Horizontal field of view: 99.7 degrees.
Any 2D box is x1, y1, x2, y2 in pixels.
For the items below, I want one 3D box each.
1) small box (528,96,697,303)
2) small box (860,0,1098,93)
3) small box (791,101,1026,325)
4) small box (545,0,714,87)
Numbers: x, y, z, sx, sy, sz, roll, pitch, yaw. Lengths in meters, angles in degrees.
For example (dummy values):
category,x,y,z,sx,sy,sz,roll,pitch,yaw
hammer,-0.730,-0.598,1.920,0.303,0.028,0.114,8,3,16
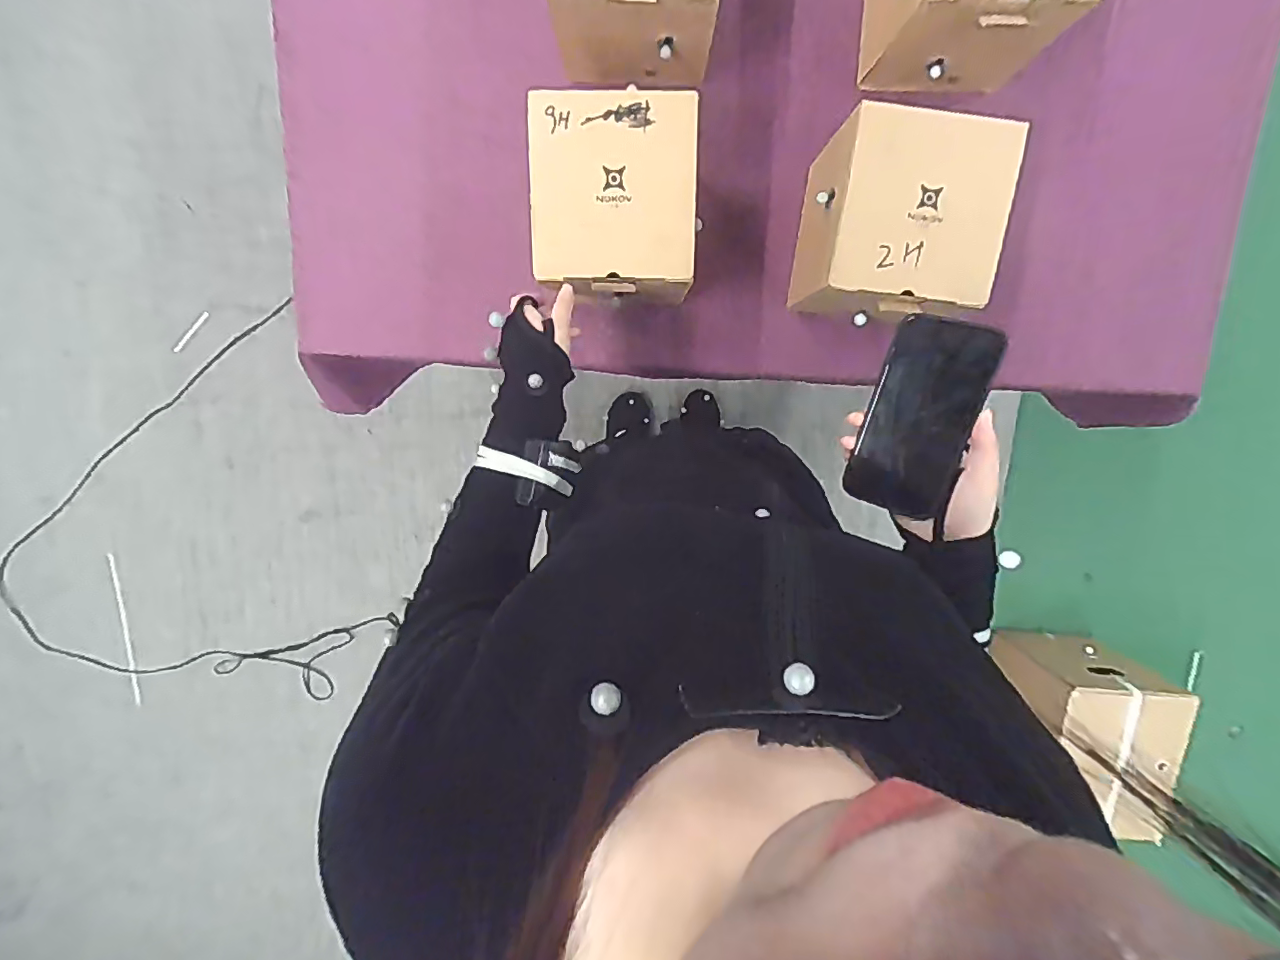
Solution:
category,x,y,z,sx,sy,sz,roll,pitch,yaw
small box,-0.026,-0.298,0.612,0.168,0.176,0.179,0,101,0
small box,0.345,-0.543,0.562,0.168,0.176,0.179,0,102,1
small box,0.281,-0.282,0.611,0.168,0.176,0.179,7,101,0
small box,-0.005,-0.548,0.565,0.168,0.176,0.179,3,101,-1
